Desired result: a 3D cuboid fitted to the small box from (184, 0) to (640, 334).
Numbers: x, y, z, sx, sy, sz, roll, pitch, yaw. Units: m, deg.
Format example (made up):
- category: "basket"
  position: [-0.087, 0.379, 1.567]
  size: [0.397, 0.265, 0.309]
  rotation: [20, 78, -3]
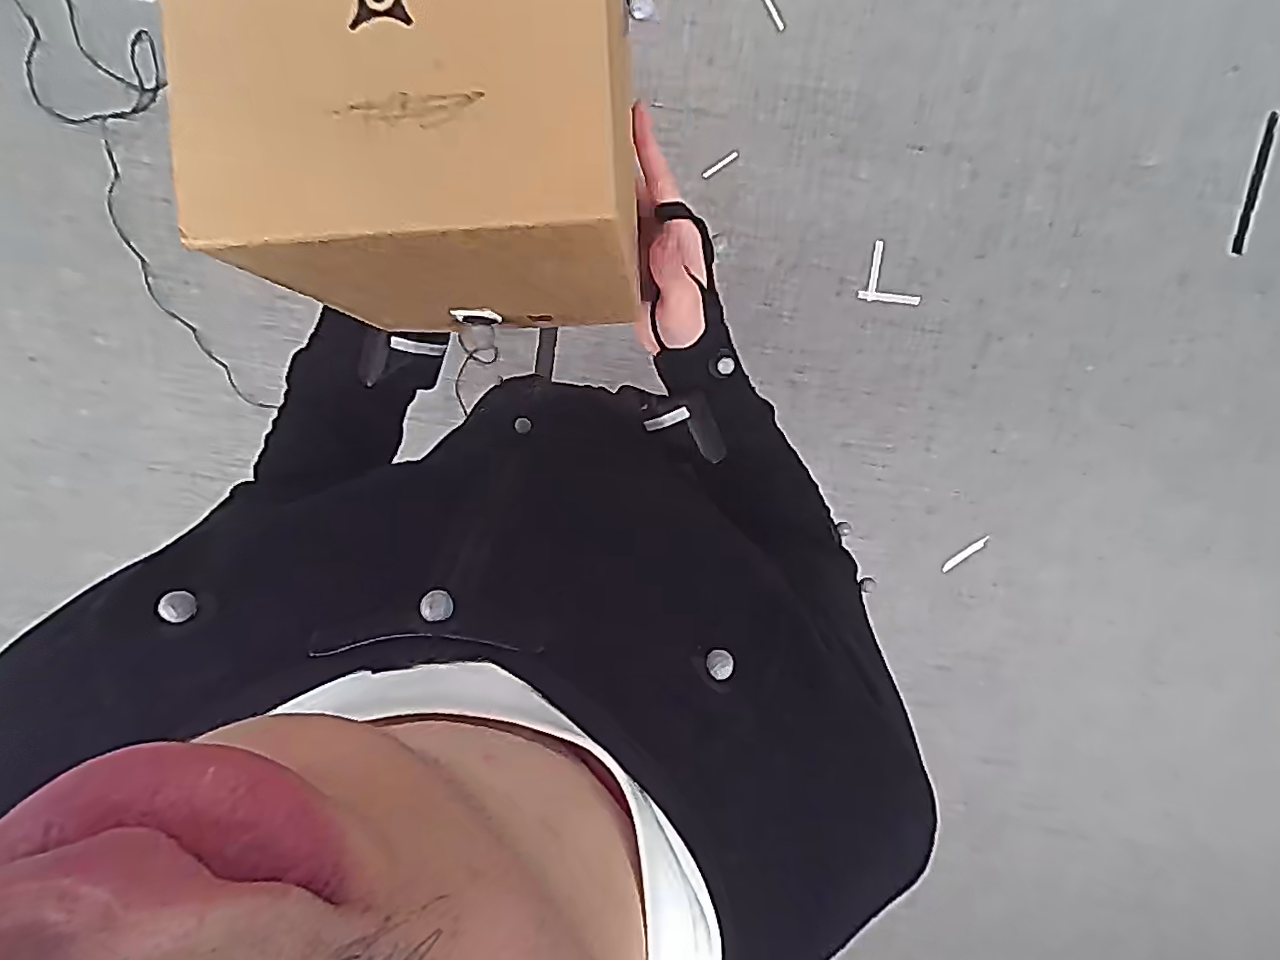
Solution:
- category: "small box"
  position: [-0.088, -0.186, 0.285]
  size: [0.168, 0.176, 0.179]
  rotation: [-2, 93, 5]
